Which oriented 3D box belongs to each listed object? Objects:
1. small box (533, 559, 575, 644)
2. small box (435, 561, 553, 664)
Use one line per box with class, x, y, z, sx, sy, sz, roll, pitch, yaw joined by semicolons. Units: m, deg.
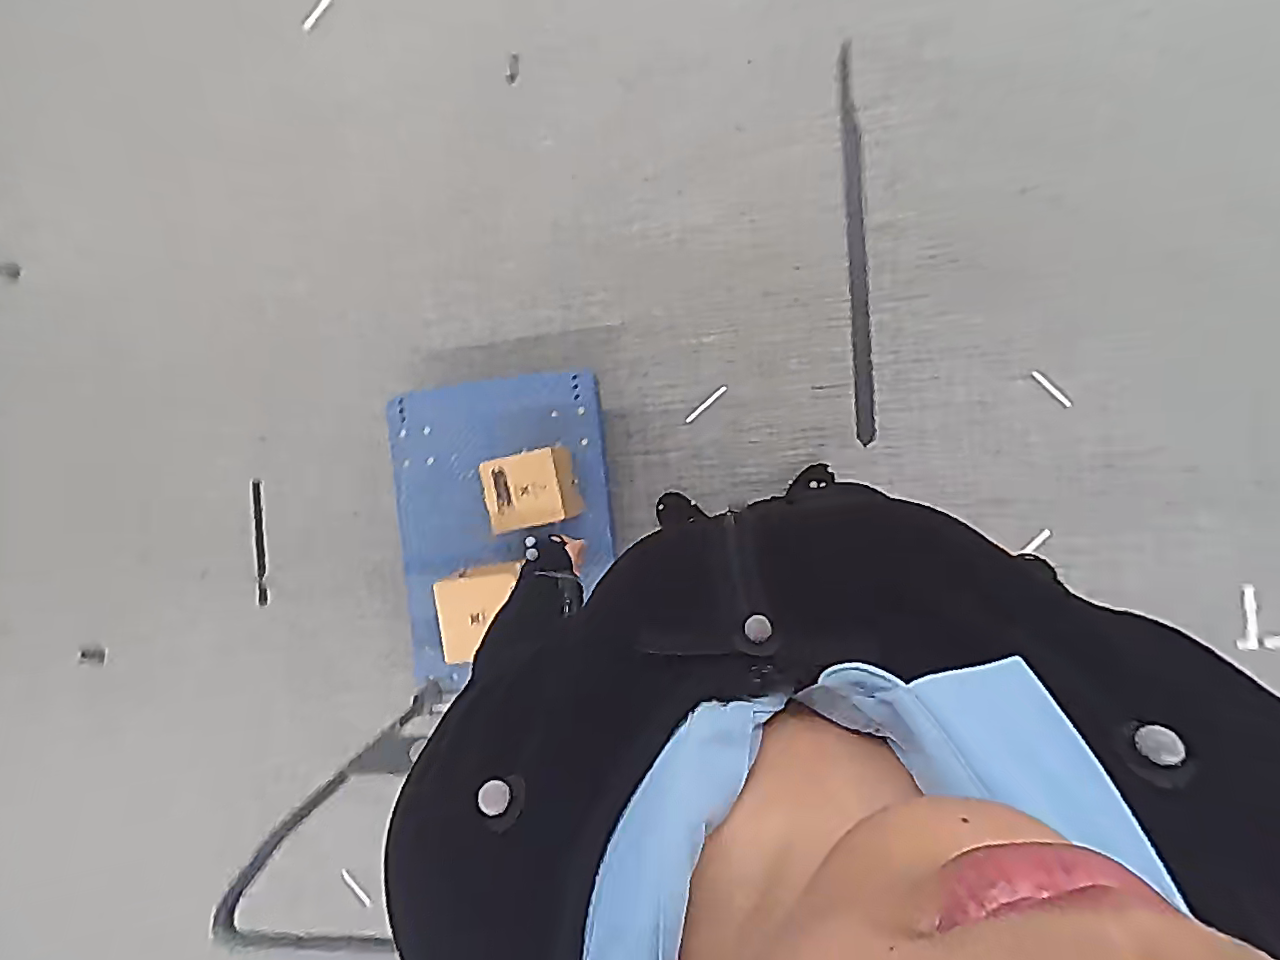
small box;-0.273;0.295;1.309;0.179;0.176;0.168;-10;90;9
small box;-0.303;0.274;1.146;0.179;0.176;0.168;-9;91;9
